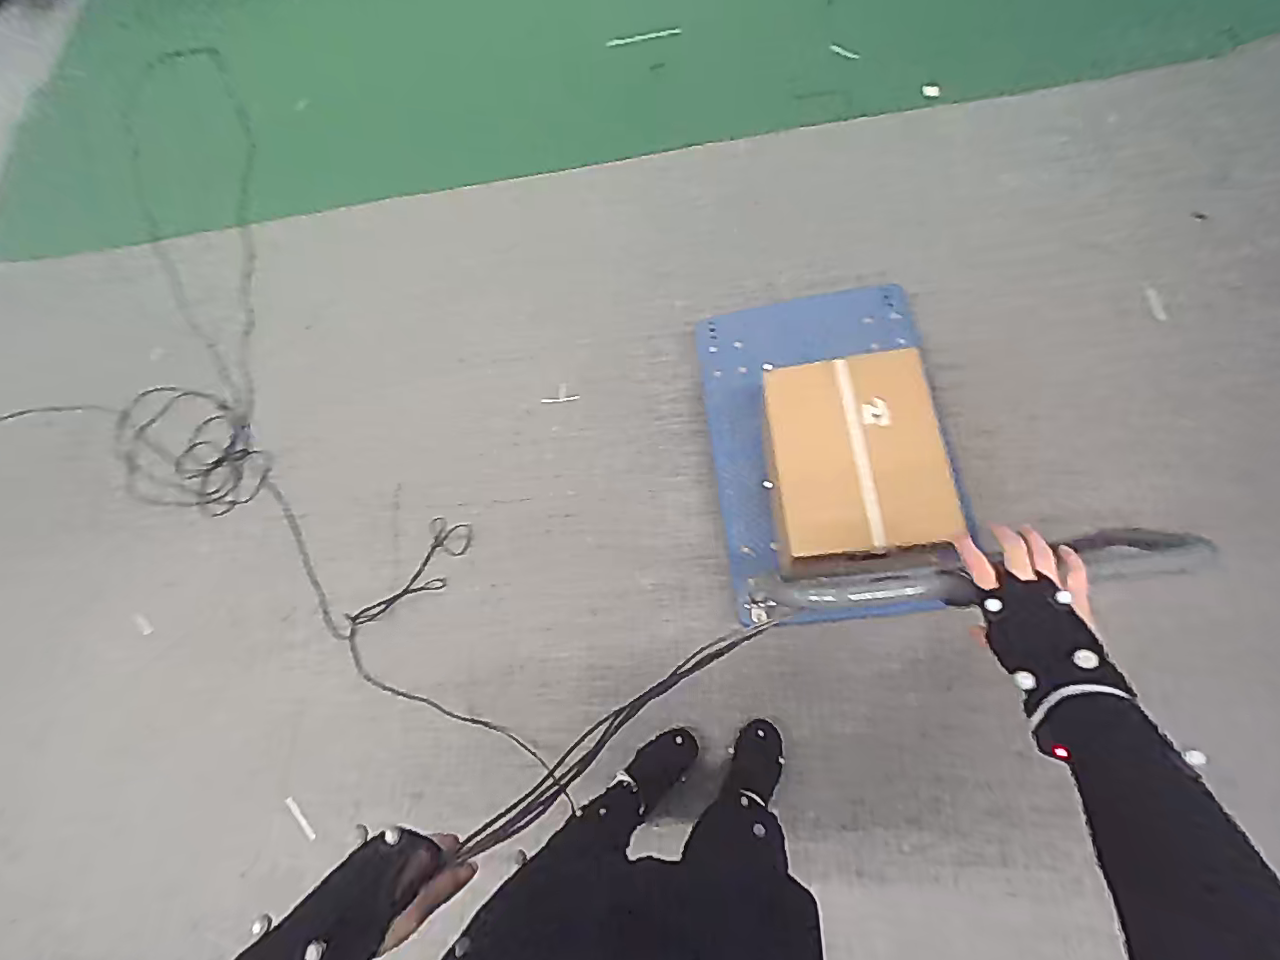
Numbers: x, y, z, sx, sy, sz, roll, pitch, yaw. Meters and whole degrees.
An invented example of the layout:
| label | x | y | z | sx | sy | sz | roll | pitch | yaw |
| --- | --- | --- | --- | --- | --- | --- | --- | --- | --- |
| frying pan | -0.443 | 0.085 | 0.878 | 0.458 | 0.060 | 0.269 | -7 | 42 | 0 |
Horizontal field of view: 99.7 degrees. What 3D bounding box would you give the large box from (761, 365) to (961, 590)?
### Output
| label | x | y | z | sx | sy | sz | roll | pitch | yaw |
| --- | --- | --- | --- | --- | --- | --- | --- | --- | --- |
| large box | 0.456 | 0.014 | 1.215 | 0.320 | 0.320 | 0.408 | -7 | 69 | 8 |
